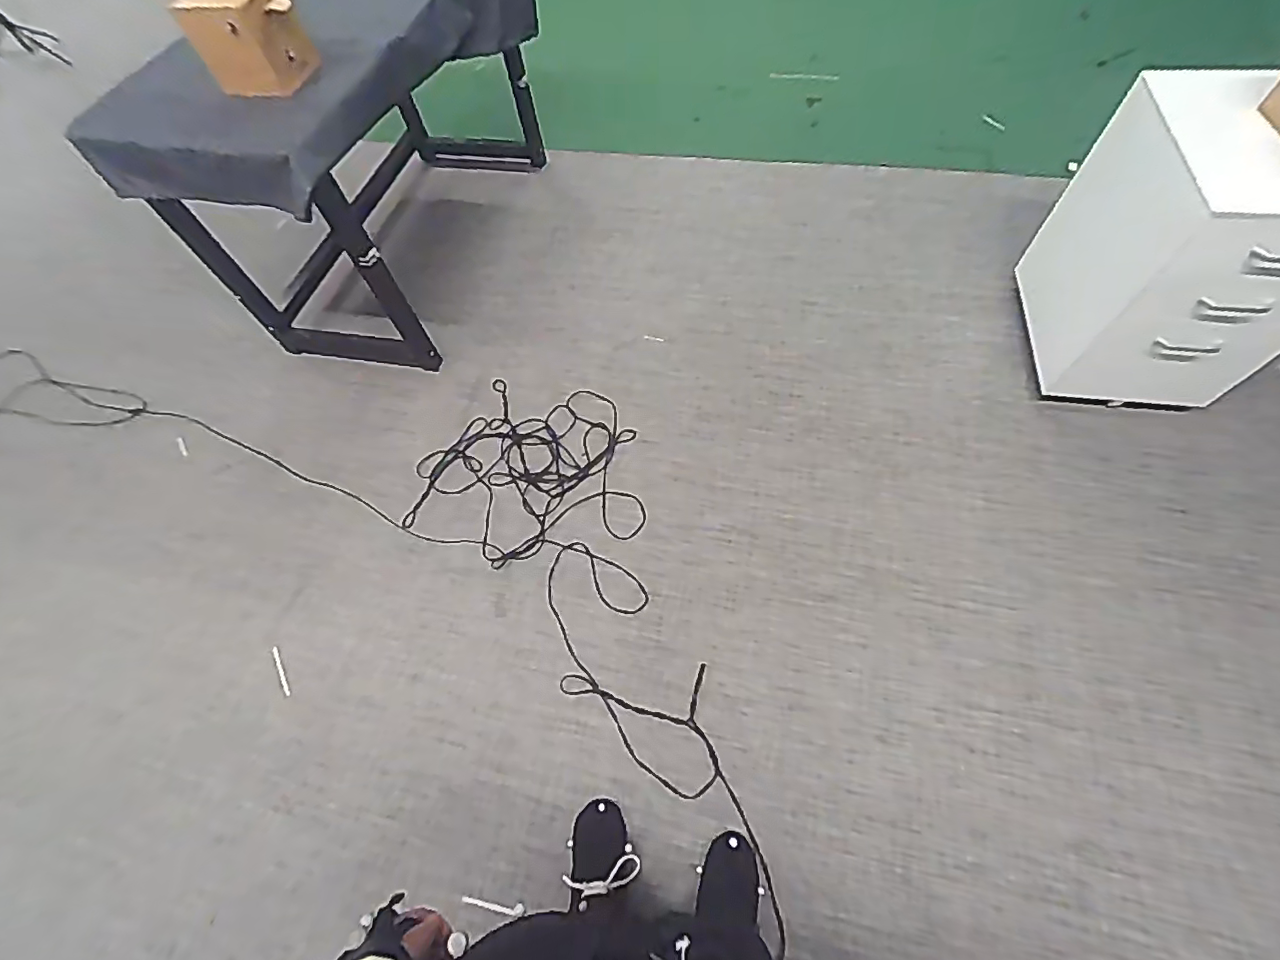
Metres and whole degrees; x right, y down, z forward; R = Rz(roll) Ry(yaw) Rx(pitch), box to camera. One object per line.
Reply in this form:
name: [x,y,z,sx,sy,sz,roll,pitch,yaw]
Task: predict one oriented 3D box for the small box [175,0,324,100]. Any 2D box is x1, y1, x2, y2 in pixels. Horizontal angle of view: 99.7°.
small box: [-0.870,-0.992,1.225,0.179,0.176,0.168,9,61,9]
